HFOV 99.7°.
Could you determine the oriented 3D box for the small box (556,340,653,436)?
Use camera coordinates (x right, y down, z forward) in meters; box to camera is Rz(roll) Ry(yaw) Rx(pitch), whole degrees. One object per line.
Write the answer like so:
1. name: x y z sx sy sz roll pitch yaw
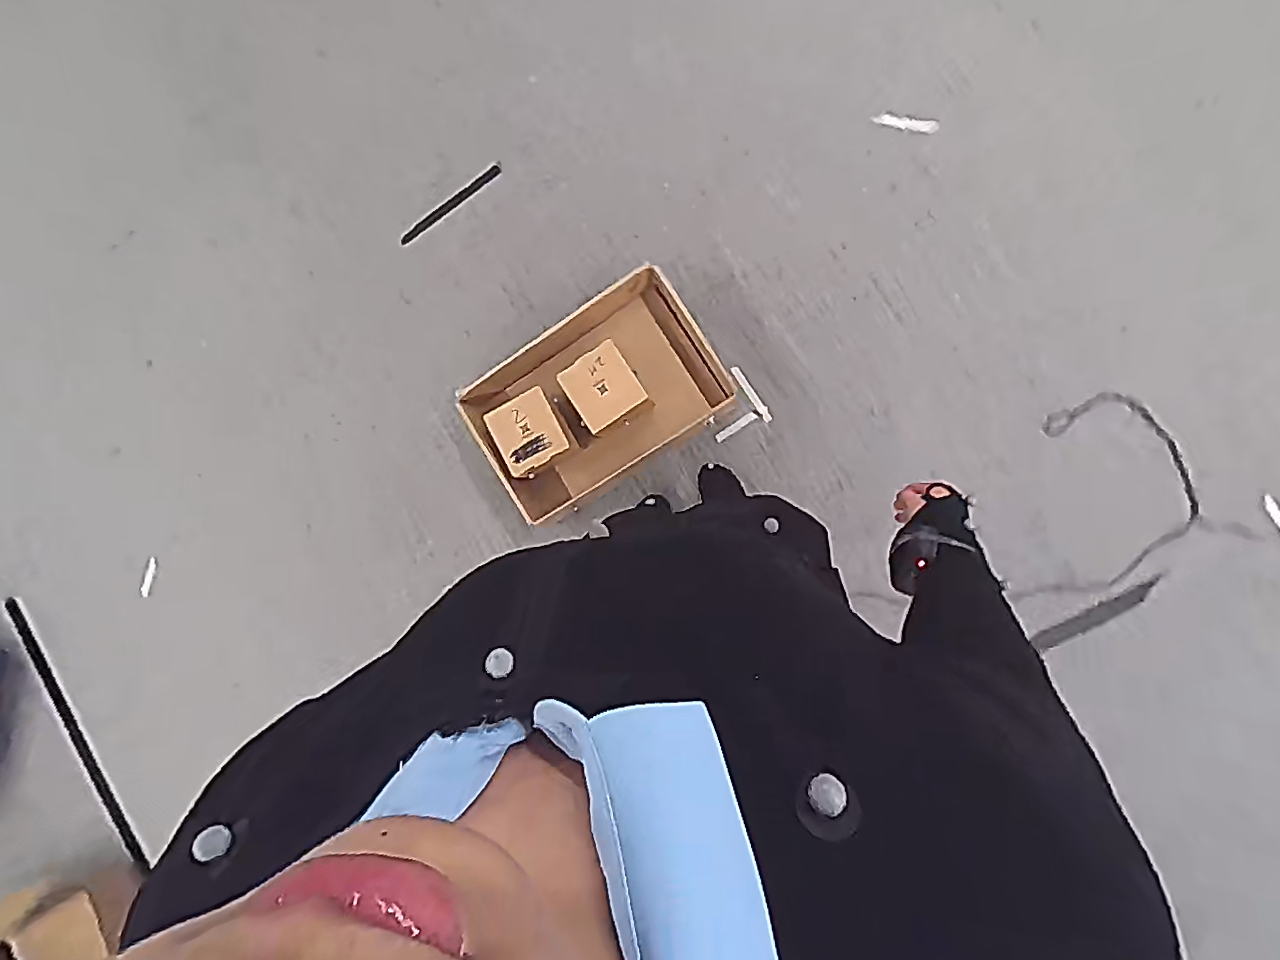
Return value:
1. small box: -0.082 -0.226 1.382 0.168 0.176 0.179 -34 87 7
